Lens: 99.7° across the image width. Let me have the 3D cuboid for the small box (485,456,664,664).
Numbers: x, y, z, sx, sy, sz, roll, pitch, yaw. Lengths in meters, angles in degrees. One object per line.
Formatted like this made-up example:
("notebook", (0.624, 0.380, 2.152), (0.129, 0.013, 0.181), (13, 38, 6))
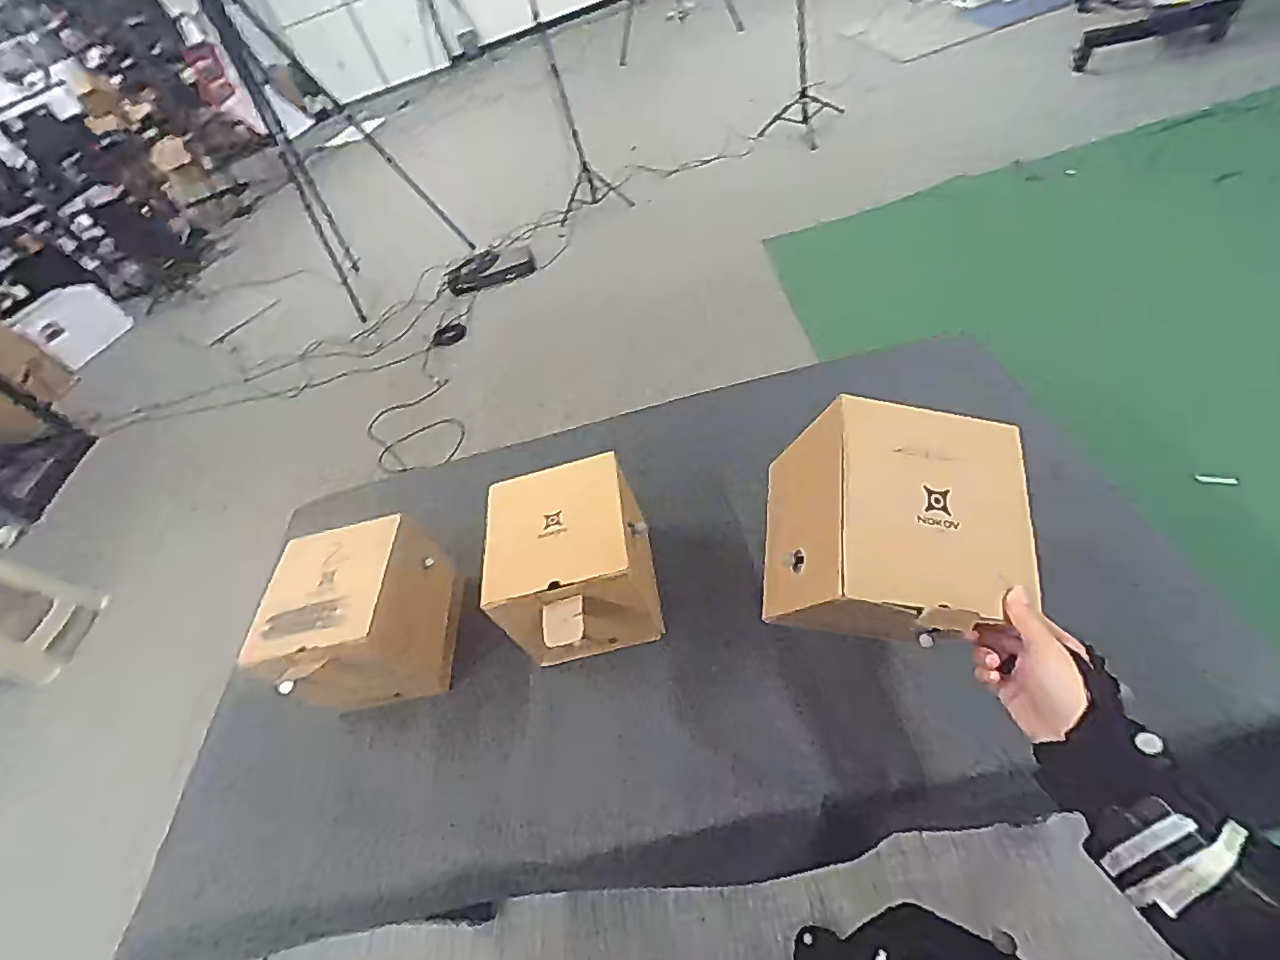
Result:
("small box", (-0.075, 0.103, 0.676), (0.168, 0.176, 0.179), (-15, 48, 6))

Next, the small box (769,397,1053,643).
("small box", (0.227, 0.051, 0.500), (0.168, 0.176, 0.179), (10, 69, -6))
